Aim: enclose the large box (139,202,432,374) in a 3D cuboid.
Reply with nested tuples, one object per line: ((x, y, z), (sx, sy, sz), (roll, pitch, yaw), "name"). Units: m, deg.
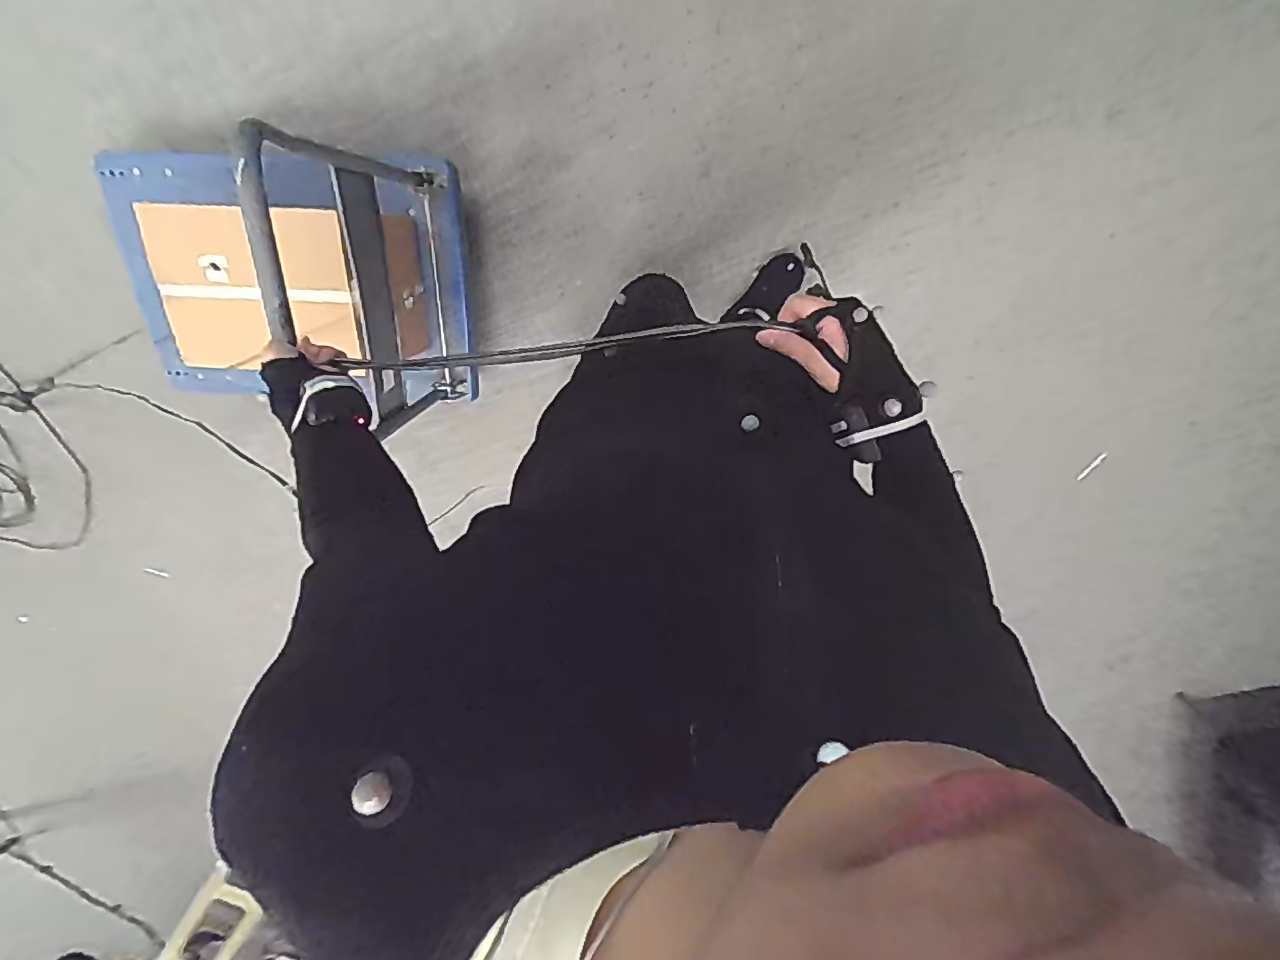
((-0.731, -0.430, 1.193), (0.408, 0.320, 0.320), (4, 114, 3), "large box")
